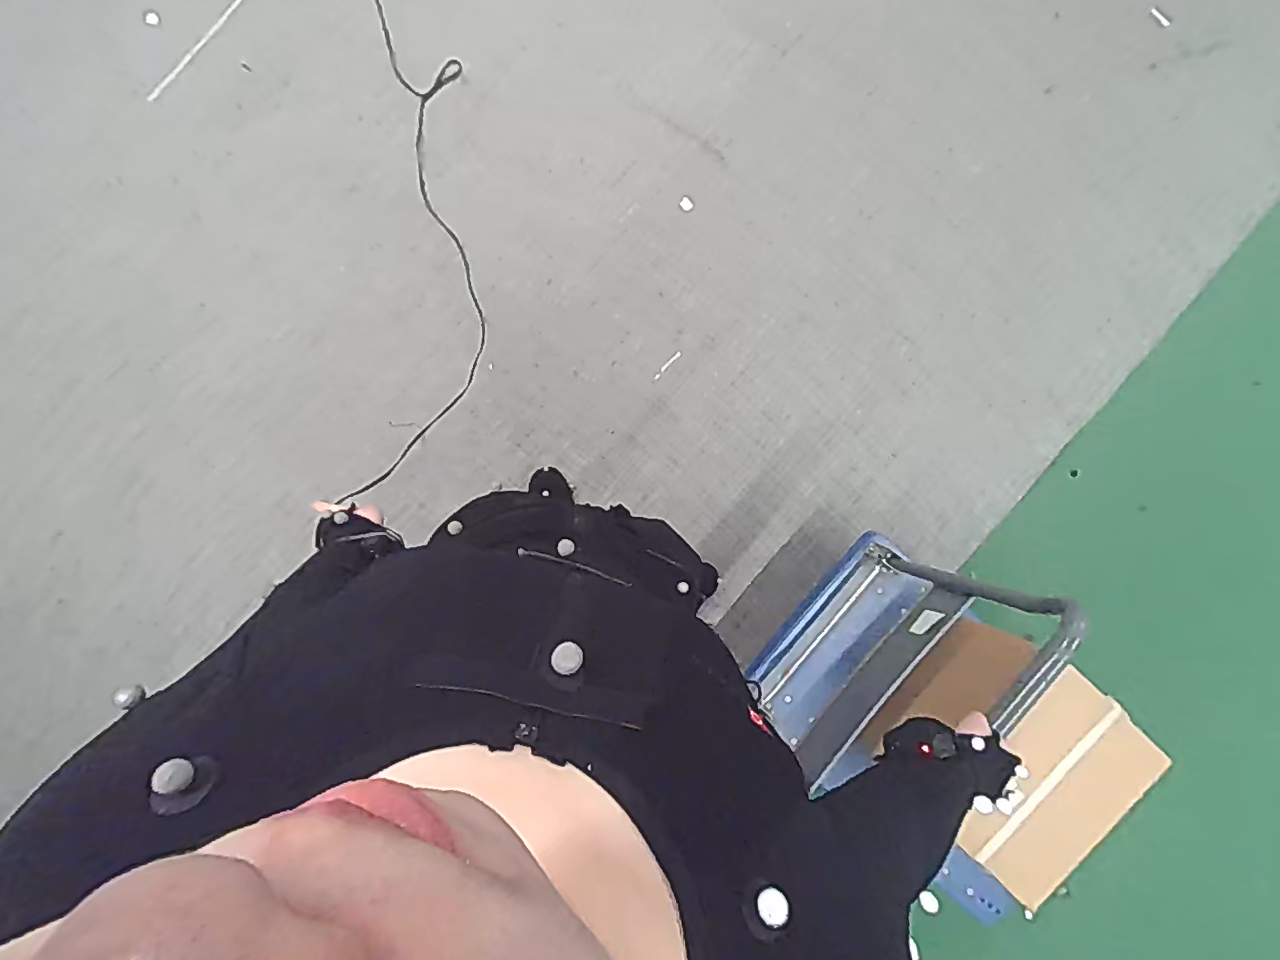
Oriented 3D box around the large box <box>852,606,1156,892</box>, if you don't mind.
[{"bbox_3d":[0.769,0.558,1.203,0.320,0.320,0.408,43,90,0],"label":"large box"}]
